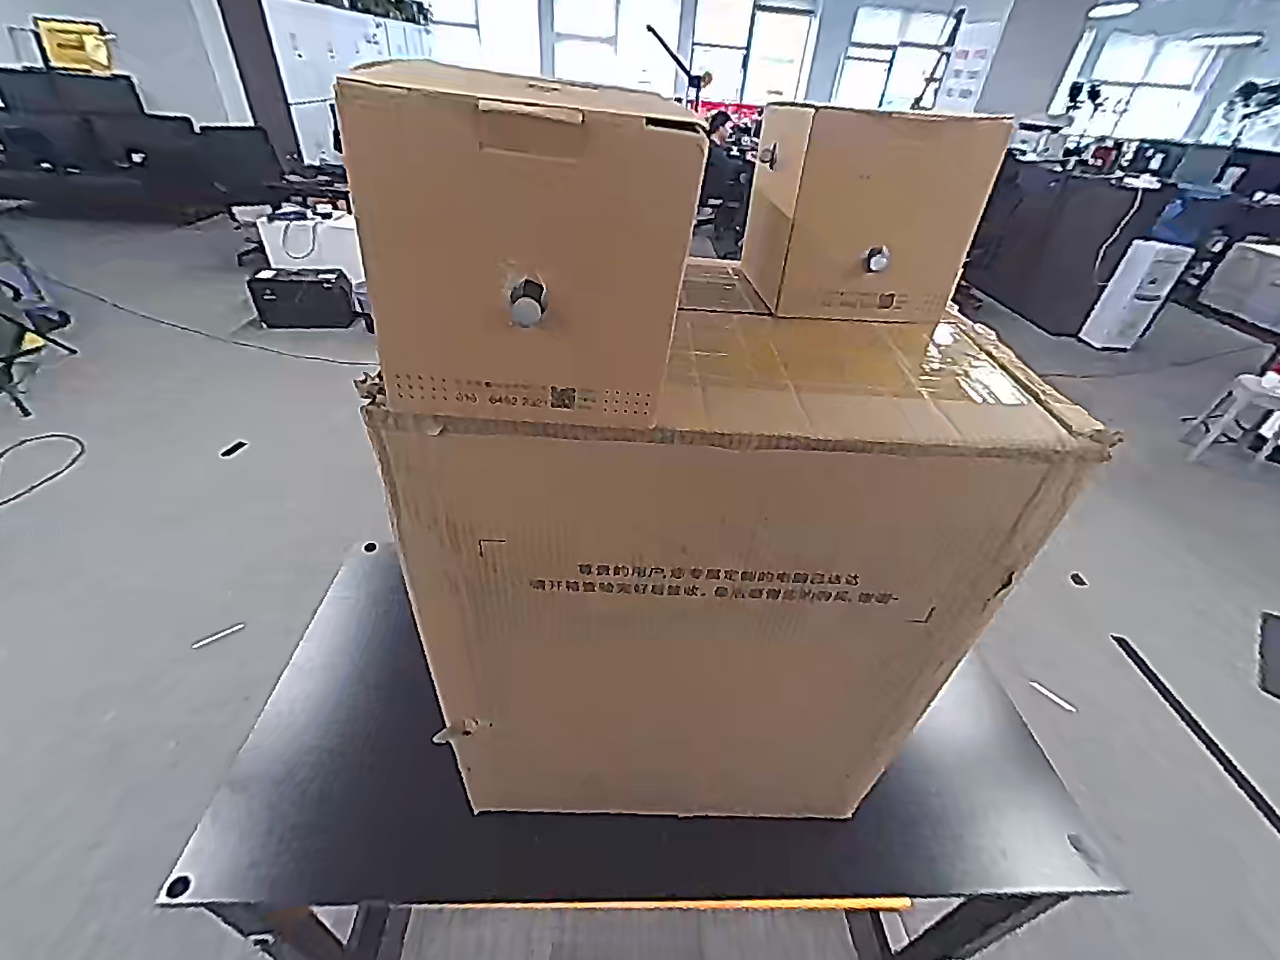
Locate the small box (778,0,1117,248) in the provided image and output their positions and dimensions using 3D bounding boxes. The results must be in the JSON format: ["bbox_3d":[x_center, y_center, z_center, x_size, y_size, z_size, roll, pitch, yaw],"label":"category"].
[{"bbox_3d":[0.229,-0.310,0.464,0.168,0.176,0.179,1,36,-4],"label":"small box"}]

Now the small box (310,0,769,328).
[{"bbox_3d":[-0.043,-0.191,0.273,0.168,0.176,0.179,2,40,-9],"label":"small box"}]
